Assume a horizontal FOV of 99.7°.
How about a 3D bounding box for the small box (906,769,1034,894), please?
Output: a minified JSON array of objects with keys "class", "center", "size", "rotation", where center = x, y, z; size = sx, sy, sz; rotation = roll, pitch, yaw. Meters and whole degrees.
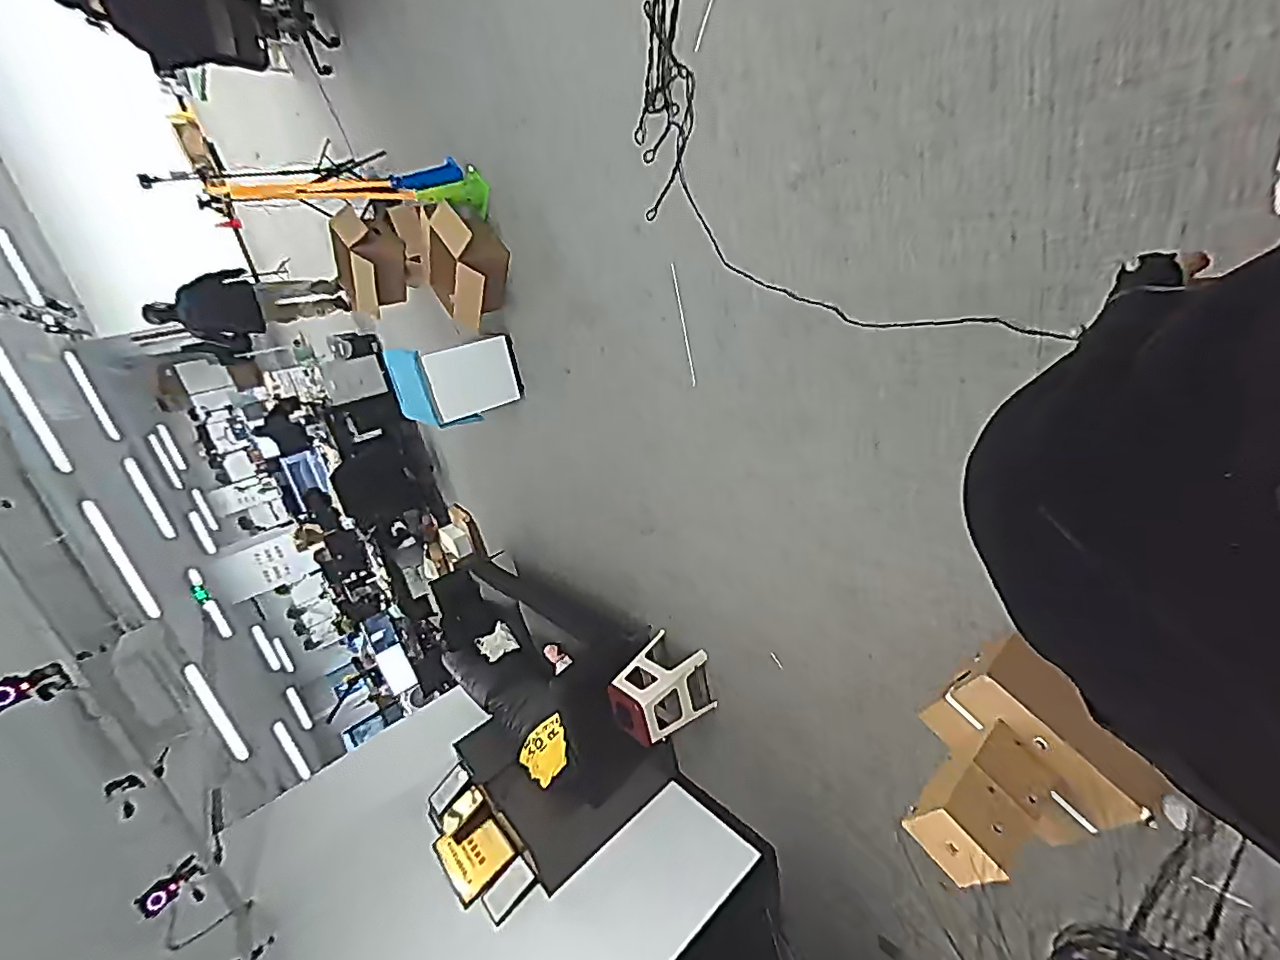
[{"class":"small box","center":[0.765,0.806,1.250],"size":[0.168,0.176,0.179],"rotation":[46,144,26]}]
